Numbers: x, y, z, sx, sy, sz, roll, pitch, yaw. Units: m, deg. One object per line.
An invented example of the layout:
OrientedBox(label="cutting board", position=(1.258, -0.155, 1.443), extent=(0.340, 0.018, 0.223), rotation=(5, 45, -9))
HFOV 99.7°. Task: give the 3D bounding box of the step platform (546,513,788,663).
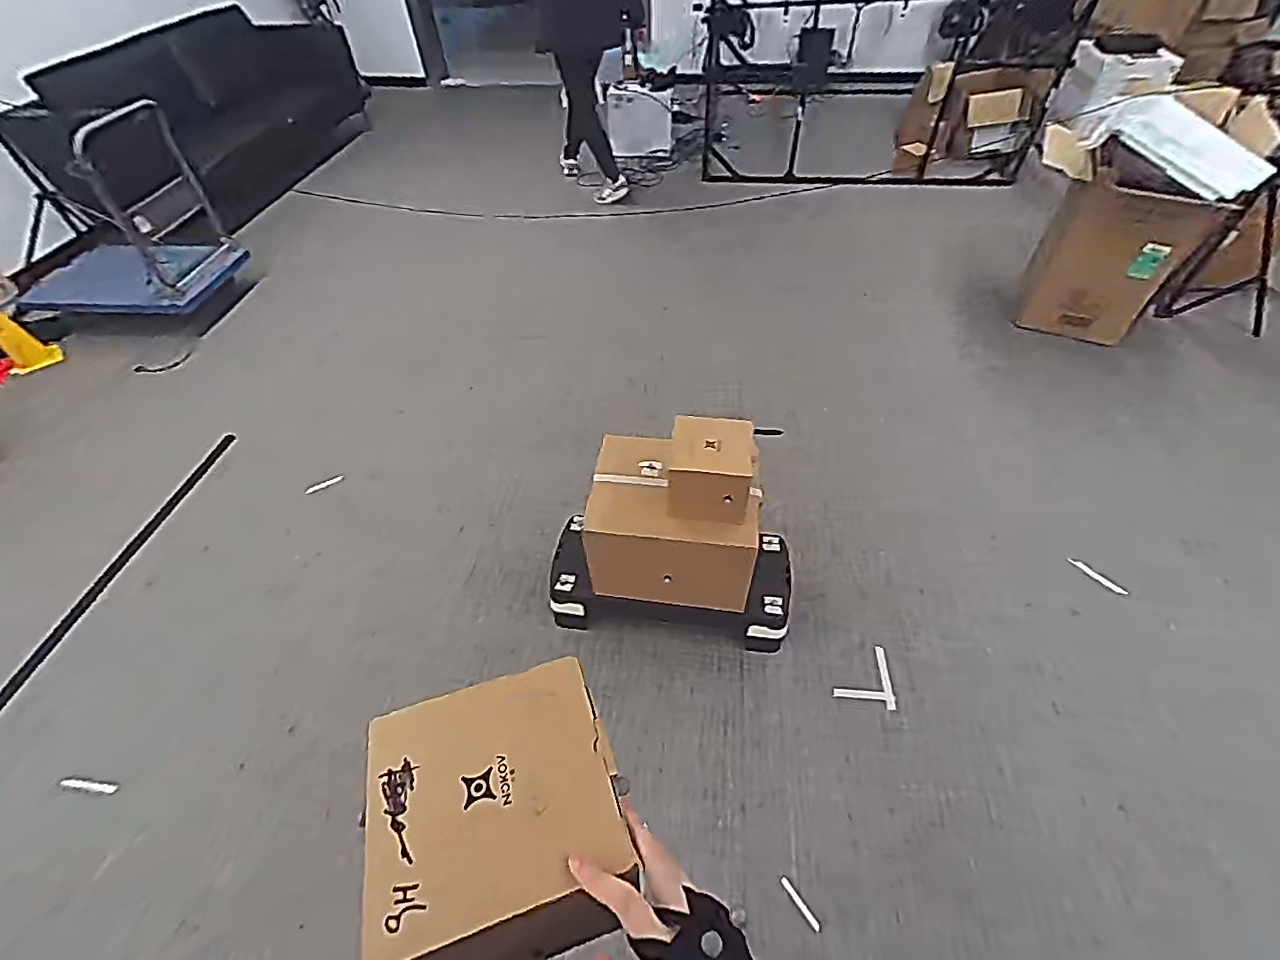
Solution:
OrientedBox(label="step platform", position=(0.077, 0.299, 1.572), extent=(0.684, 0.204, 0.286), rotation=(8, 50, 11))

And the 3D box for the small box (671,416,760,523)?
OrientedBox(label="small box", position=(0.166, -0.021, 1.203), extent=(0.179, 0.176, 0.168), rotation=(5, 50, 8))

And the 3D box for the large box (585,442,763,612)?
OrientedBox(label="large box", position=(0.100, 0.124, 1.406), extent=(0.408, 0.320, 0.320), rotation=(4, 49, 8))

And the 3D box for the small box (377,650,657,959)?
OrientedBox(label="small box", position=(-0.095, 0.274, 0.443), extent=(0.179, 0.176, 0.168), rotation=(-12, 42, -13))
